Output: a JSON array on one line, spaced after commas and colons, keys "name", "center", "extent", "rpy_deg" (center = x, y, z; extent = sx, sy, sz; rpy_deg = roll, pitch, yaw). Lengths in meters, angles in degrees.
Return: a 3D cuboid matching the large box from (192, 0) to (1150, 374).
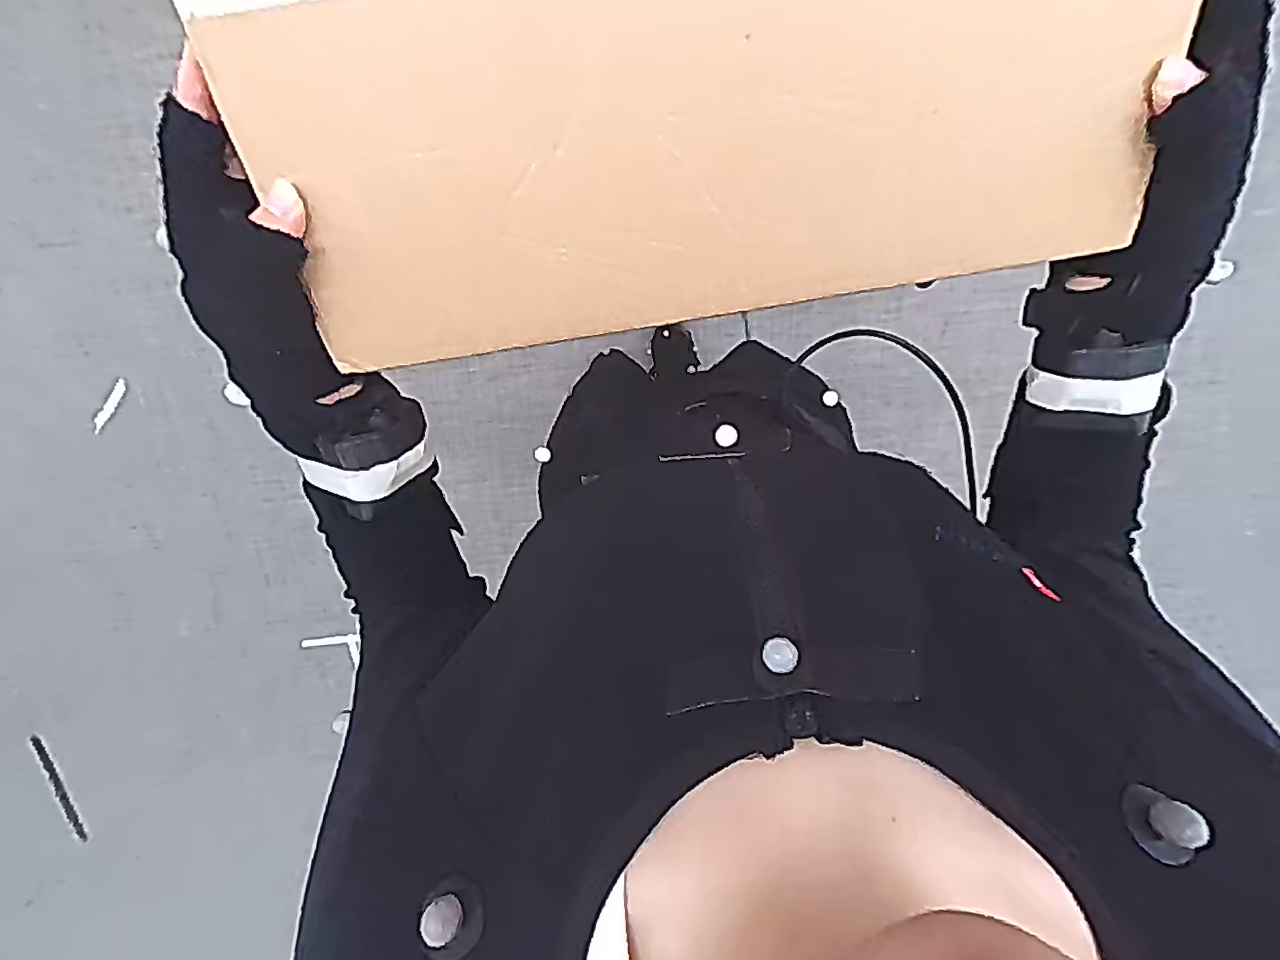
[{"name": "large box", "center": [0.010, -0.294, 0.341], "extent": [0.408, 0.320, 0.320], "rpy_deg": [-9, 119, 2]}]
